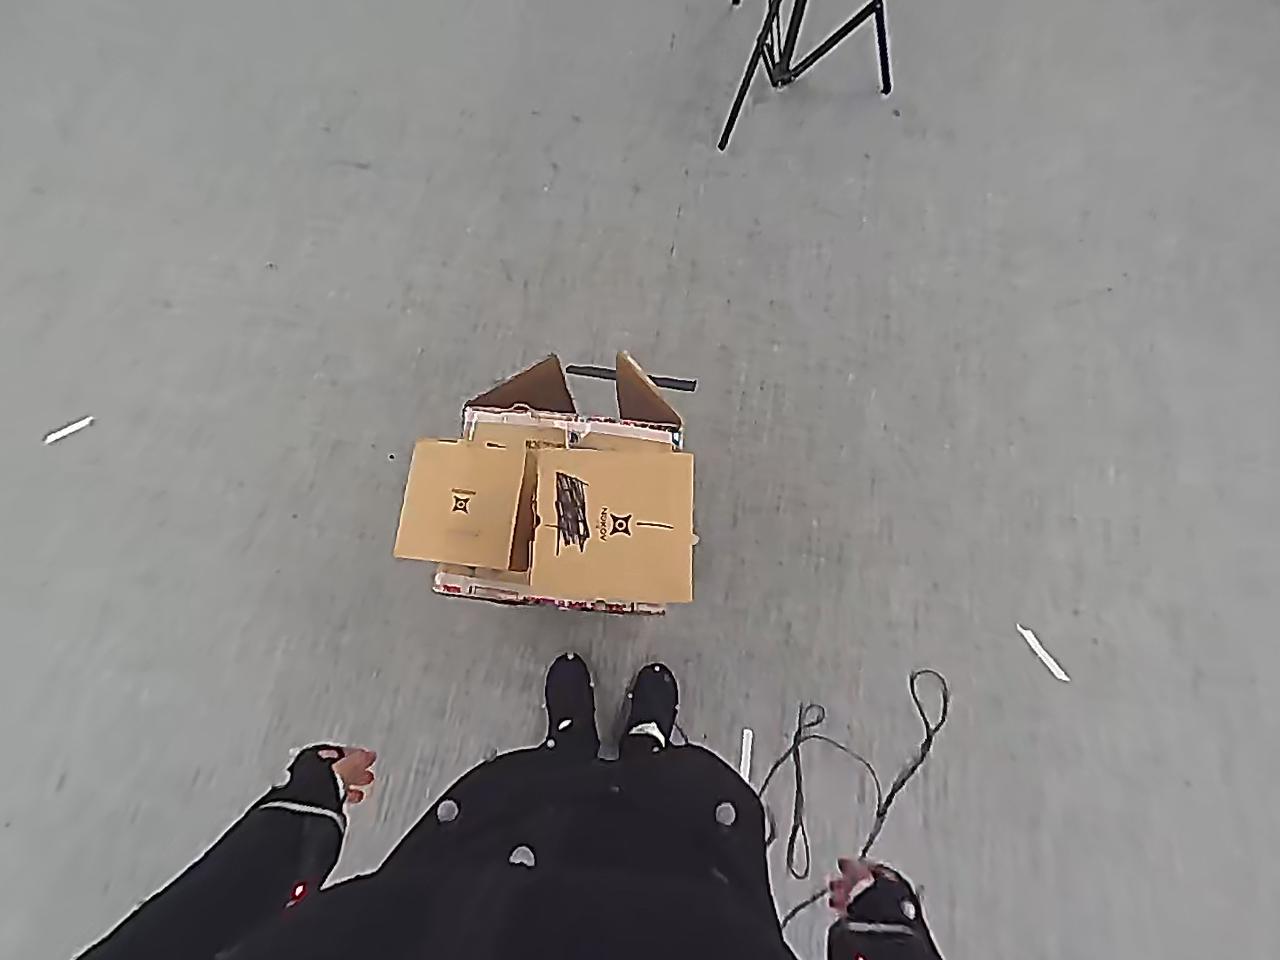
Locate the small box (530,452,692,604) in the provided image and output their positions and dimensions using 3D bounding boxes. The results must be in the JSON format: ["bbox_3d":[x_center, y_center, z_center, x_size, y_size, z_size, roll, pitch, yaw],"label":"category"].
[{"bbox_3d":[-0.030,0.065,0.676,0.179,0.176,0.168,2,80,0],"label":"small box"}]

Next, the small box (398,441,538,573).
[{"bbox_3d":[-0.248,0.050,0.847,0.168,0.176,0.179,5,81,3],"label":"small box"}]
